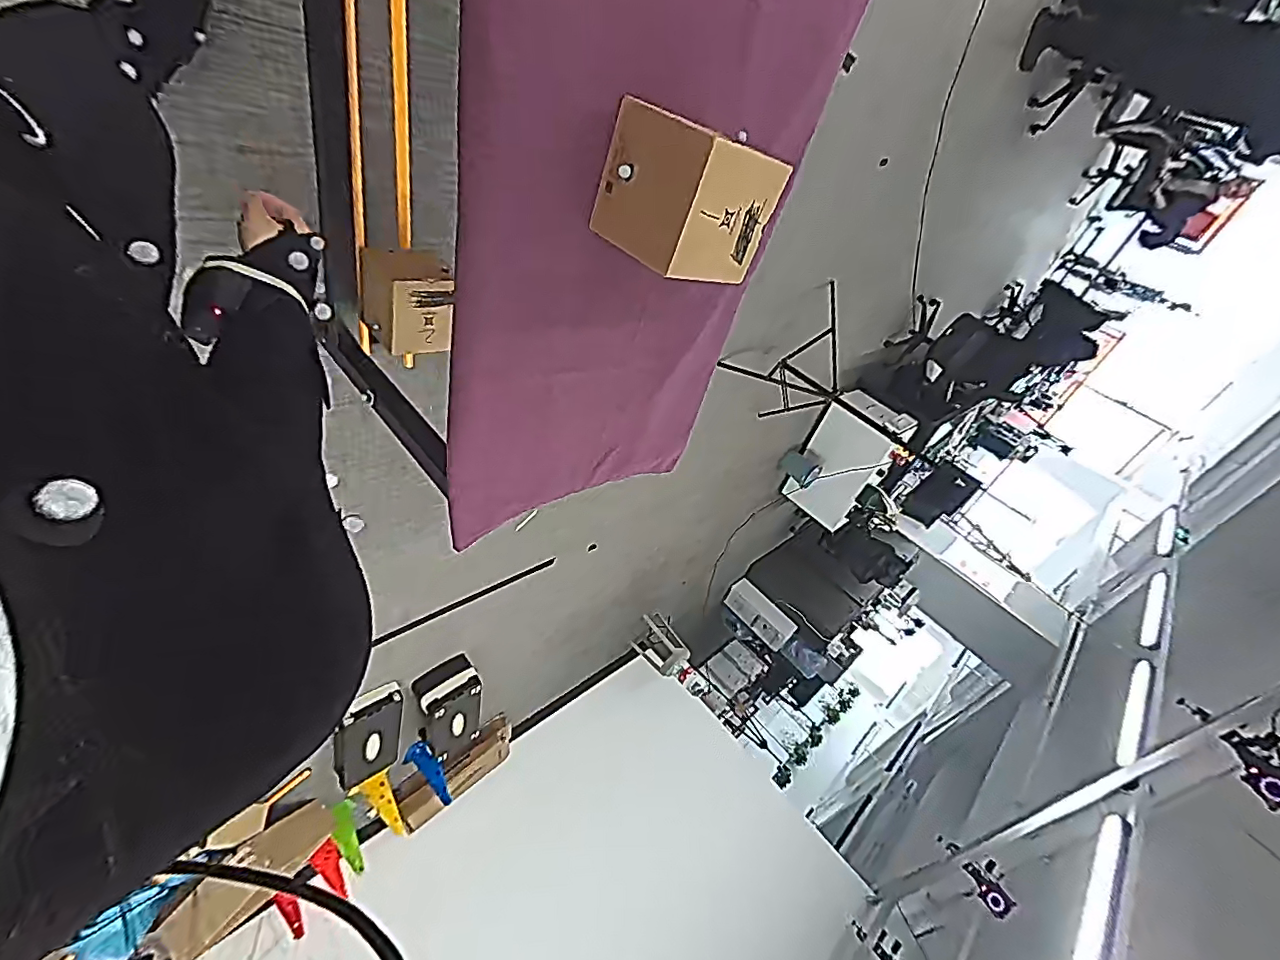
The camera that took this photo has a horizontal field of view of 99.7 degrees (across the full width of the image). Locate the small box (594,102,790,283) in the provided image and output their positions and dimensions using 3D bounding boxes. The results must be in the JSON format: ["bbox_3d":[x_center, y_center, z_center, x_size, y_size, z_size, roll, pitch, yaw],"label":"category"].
[{"bbox_3d":[0.068,-0.393,0.752,0.179,0.176,0.168,-17,140,-45],"label":"small box"}]
